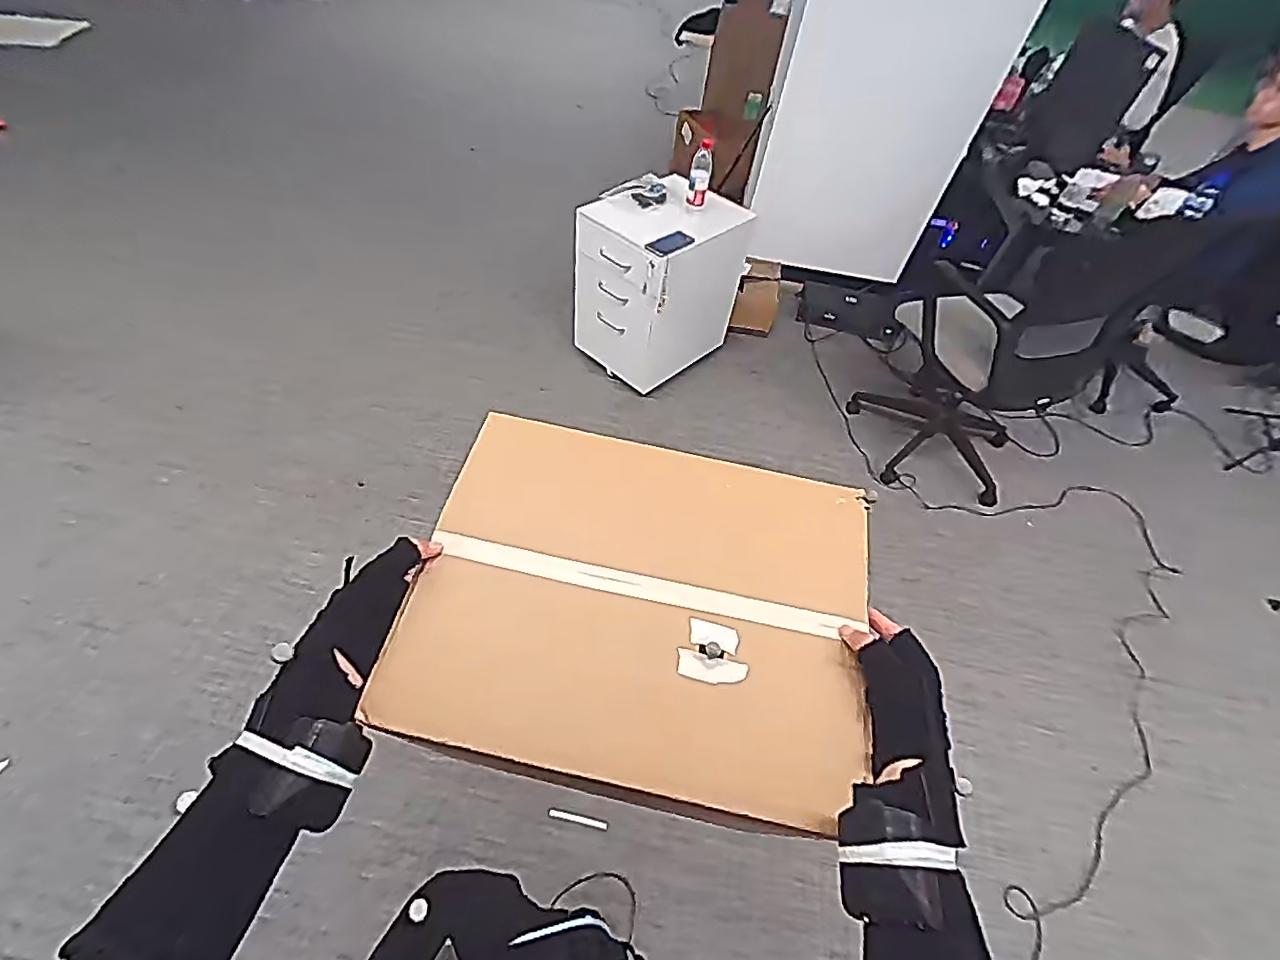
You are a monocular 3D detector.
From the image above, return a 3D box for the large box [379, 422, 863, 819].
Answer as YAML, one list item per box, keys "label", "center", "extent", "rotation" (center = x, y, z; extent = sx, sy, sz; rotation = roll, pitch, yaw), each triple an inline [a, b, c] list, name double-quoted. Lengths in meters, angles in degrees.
- label: "large box"
  center: [-0.006, 0.178, 0.632]
  extent: [0.408, 0.320, 0.320]
  rotation: [12, 59, 1]
